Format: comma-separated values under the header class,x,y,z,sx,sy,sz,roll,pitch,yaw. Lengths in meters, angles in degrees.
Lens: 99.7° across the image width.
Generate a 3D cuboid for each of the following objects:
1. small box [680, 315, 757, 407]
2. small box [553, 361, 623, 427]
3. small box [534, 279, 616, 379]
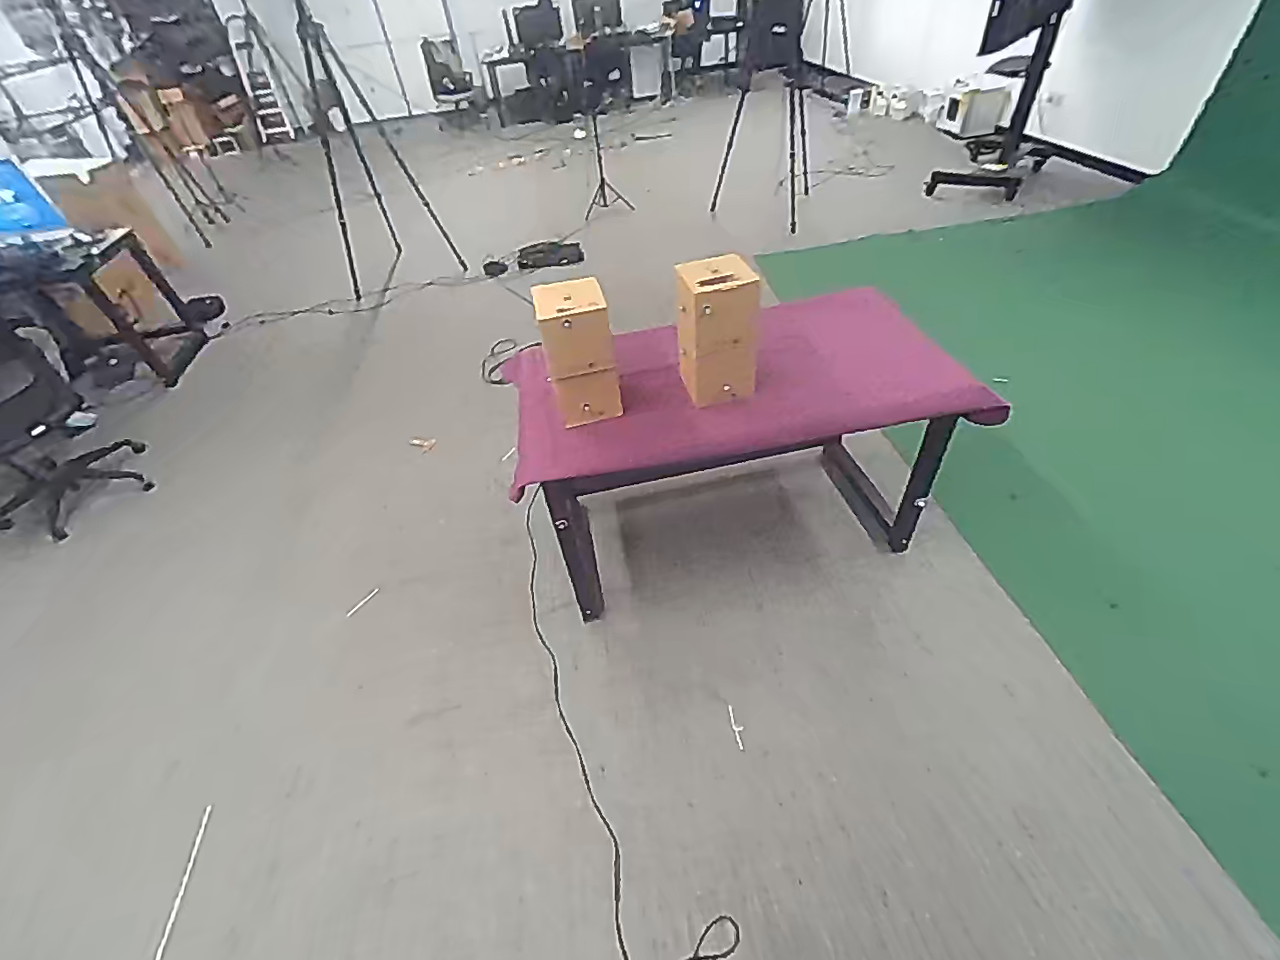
class,x,y,z,sx,sy,sz,roll,pitch,yaw
small box,0.211,-0.324,1.480,0.168,0.176,0.179,-13,45,-4
small box,-0.149,-0.270,1.478,0.168,0.176,0.179,-14,45,-7
small box,-0.163,-0.377,1.354,0.168,0.176,0.179,-13,44,-5
